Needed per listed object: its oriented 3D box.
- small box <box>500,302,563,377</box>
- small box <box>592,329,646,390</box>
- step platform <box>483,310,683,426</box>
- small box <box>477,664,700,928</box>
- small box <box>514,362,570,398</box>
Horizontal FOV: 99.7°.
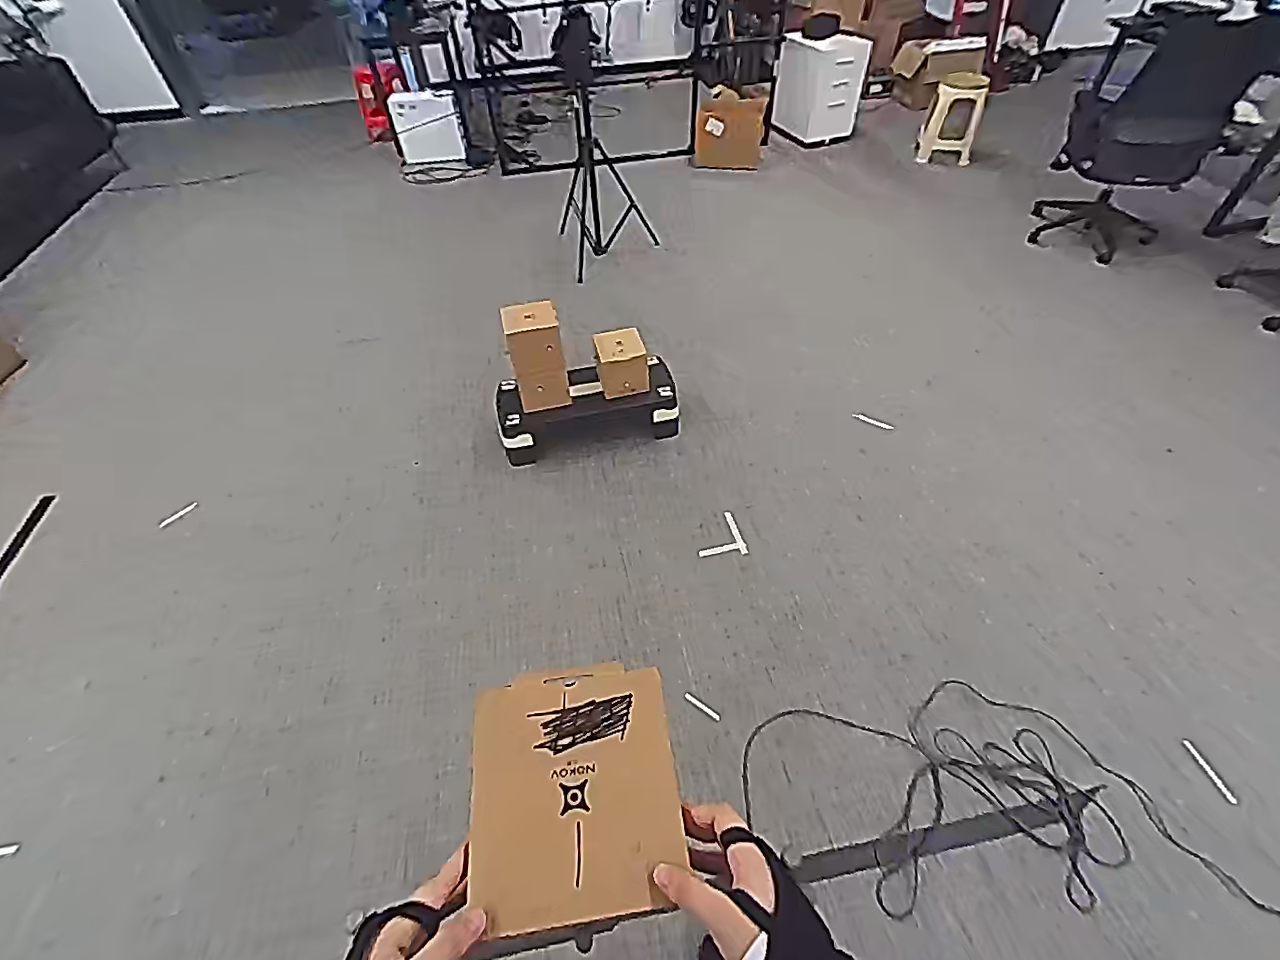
[{"bbox_3d":[-0.362,-0.474,1.829,0.179,0.176,0.168,-13,49,-9],"label":"small box"},{"bbox_3d":[-0.075,-0.428,1.990,0.168,0.176,0.179,-13,50,-7],"label":"small box"},{"bbox_3d":[-0.195,-0.397,1.923,0.684,0.204,0.286,-11,49,-8],"label":"step platform"},{"bbox_3d":[-0.049,0.295,0.505,0.168,0.176,0.179,-5,51,-6],"label":"small box"},{"bbox_3d":[-0.356,-0.368,1.954,0.179,0.176,0.168,-13,50,-8],"label":"small box"}]
